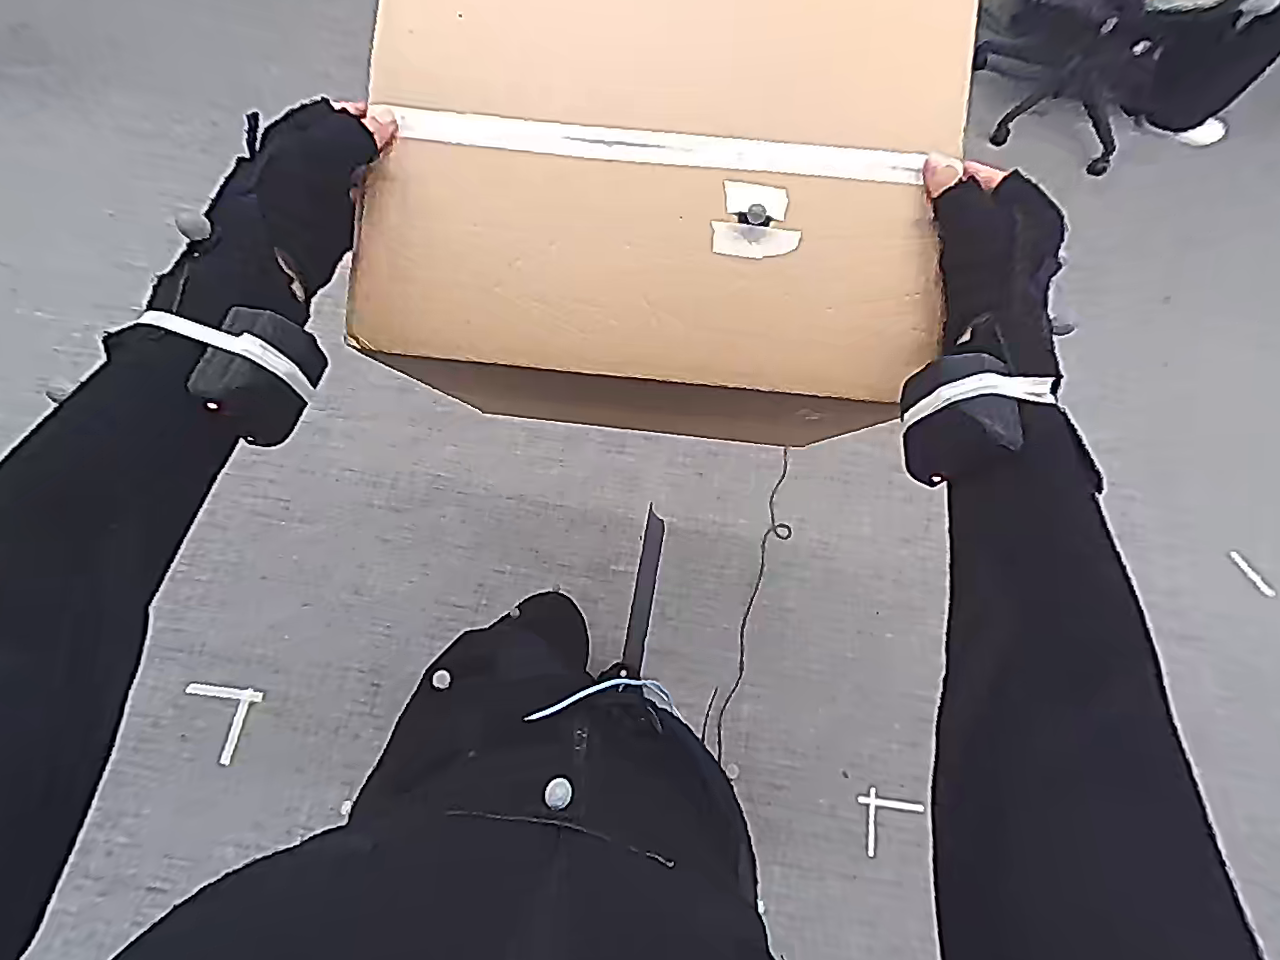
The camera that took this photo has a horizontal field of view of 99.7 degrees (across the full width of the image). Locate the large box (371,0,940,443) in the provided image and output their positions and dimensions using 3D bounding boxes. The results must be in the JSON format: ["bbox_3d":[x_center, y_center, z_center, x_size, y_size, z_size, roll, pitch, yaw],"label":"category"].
[{"bbox_3d":[0.011,-0.217,0.542,0.408,0.320,0.320,5,89,0],"label":"large box"}]
